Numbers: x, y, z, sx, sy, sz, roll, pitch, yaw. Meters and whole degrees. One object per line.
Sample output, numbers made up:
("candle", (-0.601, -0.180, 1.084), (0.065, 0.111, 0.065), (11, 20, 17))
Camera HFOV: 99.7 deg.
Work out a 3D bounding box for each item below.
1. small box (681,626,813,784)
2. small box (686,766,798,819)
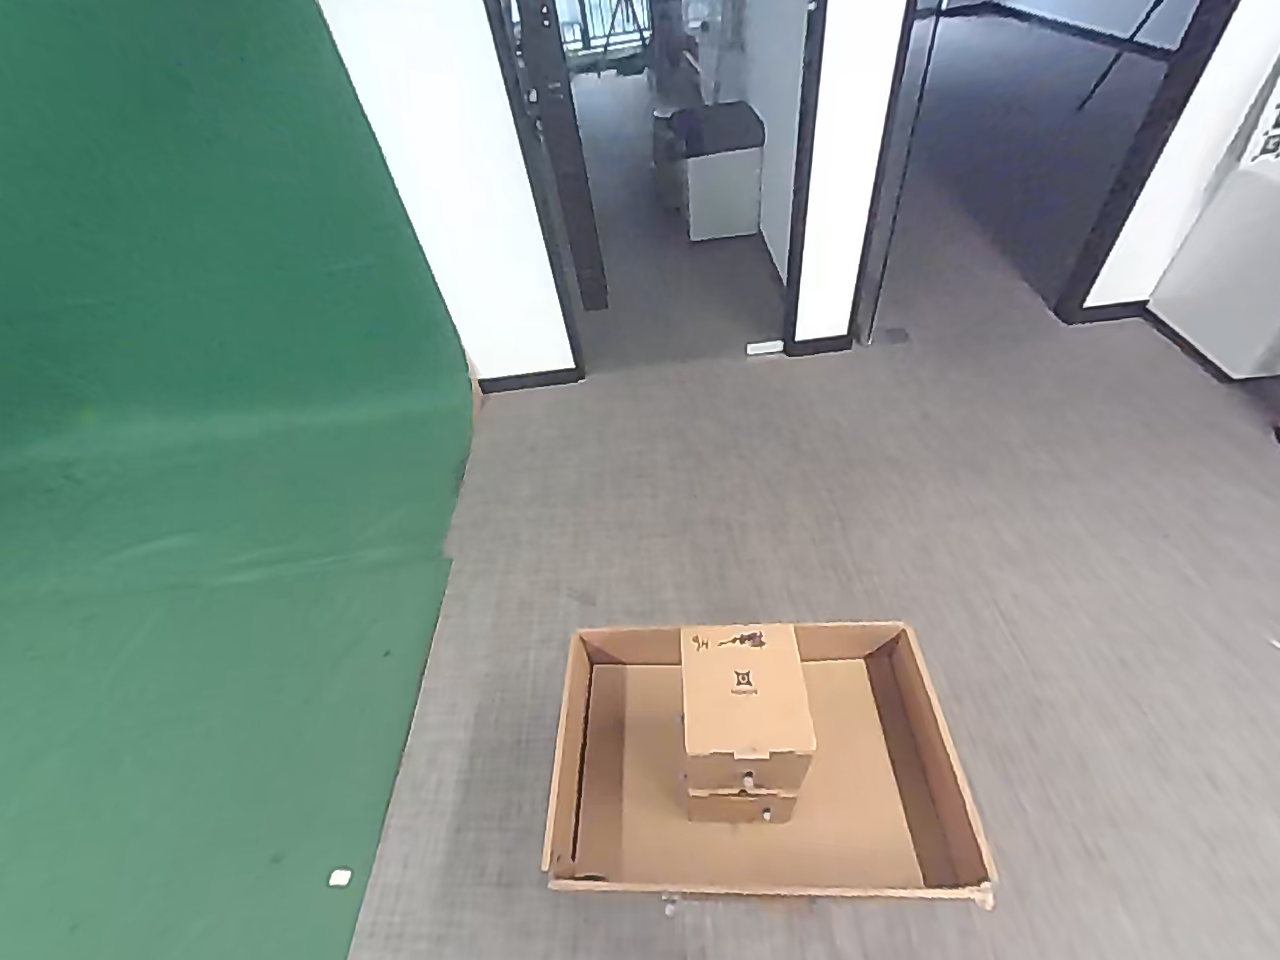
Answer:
("small box", (0.147, 0.334, 0.793), (0.168, 0.176, 0.179), (-2, 47, 4))
("small box", (0.161, 0.452, 0.906), (0.168, 0.176, 0.179), (-3, 45, 4))
